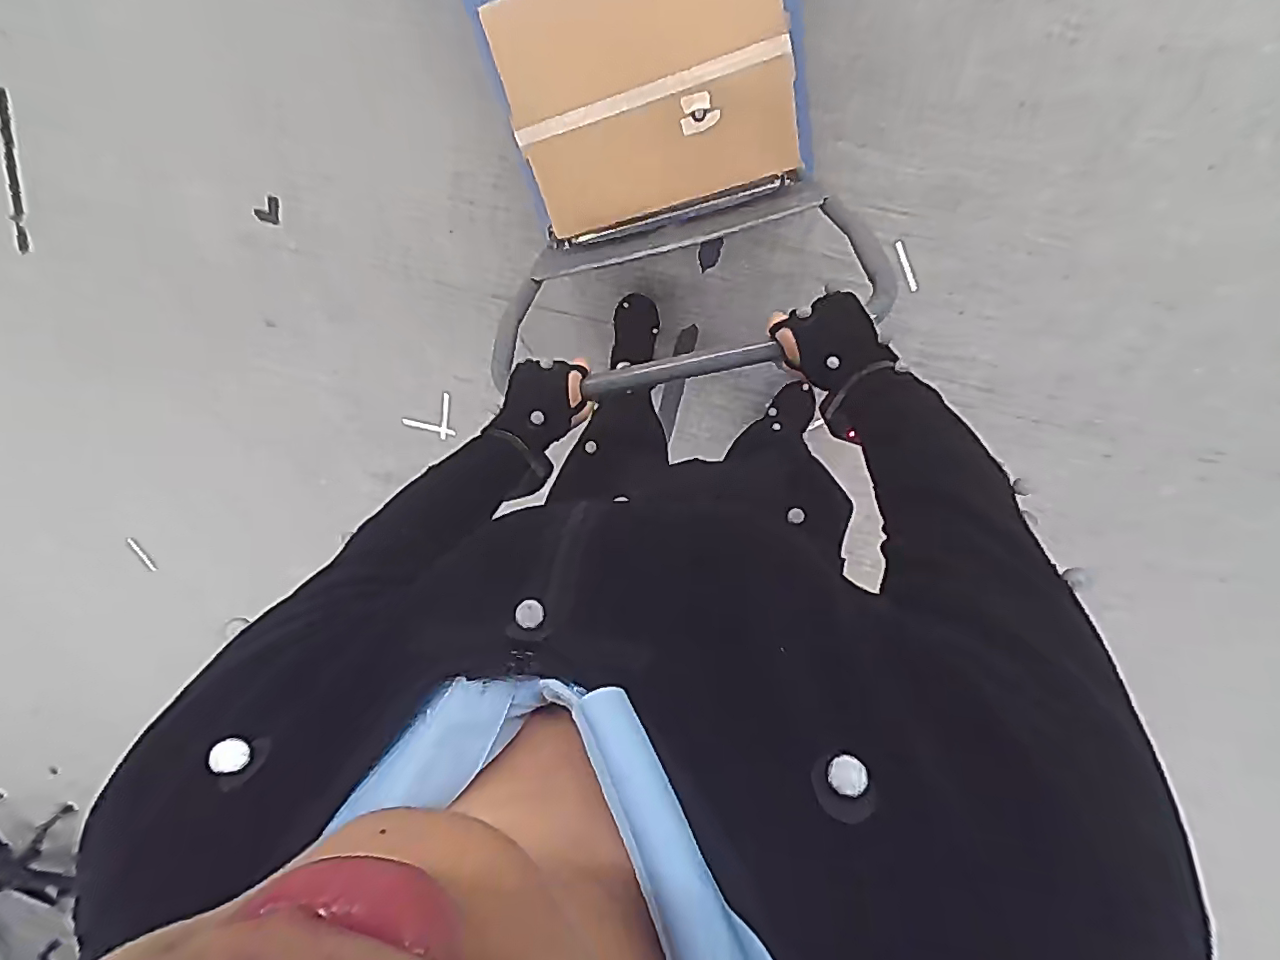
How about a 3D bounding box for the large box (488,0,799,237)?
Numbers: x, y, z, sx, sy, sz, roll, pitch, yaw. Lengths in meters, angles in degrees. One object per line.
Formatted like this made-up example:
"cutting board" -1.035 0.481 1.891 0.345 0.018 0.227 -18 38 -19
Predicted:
"large box" 0.021 -0.659 0.921 0.408 0.320 0.320 -12 124 11
